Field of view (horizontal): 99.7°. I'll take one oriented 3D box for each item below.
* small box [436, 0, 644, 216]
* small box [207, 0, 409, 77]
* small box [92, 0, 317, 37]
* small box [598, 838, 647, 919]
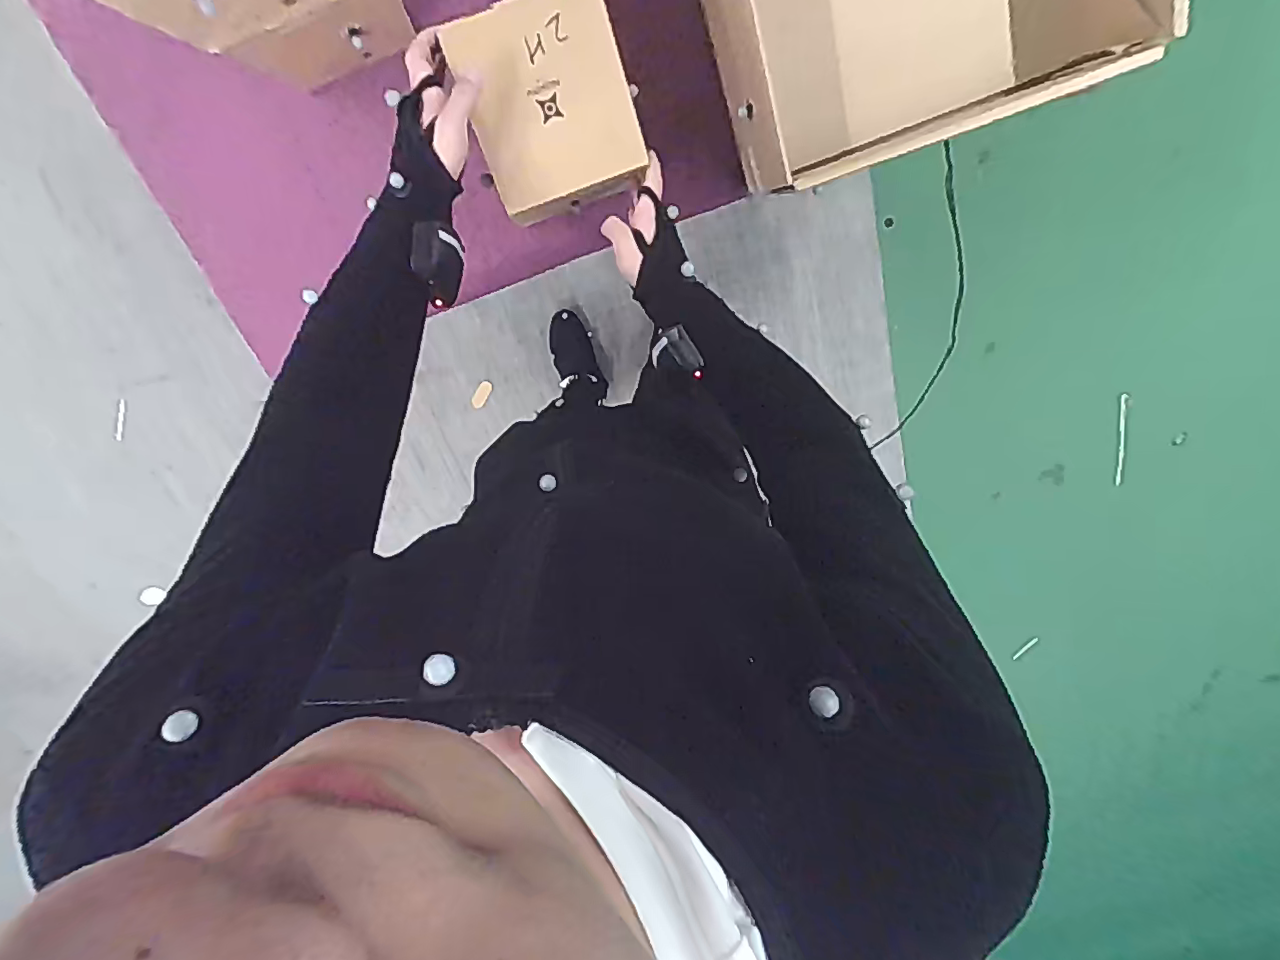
[{"bbox_3d":[-0.104,-0.420,0.623,0.168,0.176,0.179,-20,113,1],"label":"small box"},{"bbox_3d":[-0.375,-0.557,0.565,0.168,0.176,0.179,-18,113,6],"label":"small box"},{"bbox_3d":[-0.371,-0.487,0.420,0.168,0.176,0.179,-18,113,6],"label":"small box"},{"bbox_3d":[-0.062,1.412,1.919,0.168,0.176,0.179,2,112,-2],"label":"small box"}]
